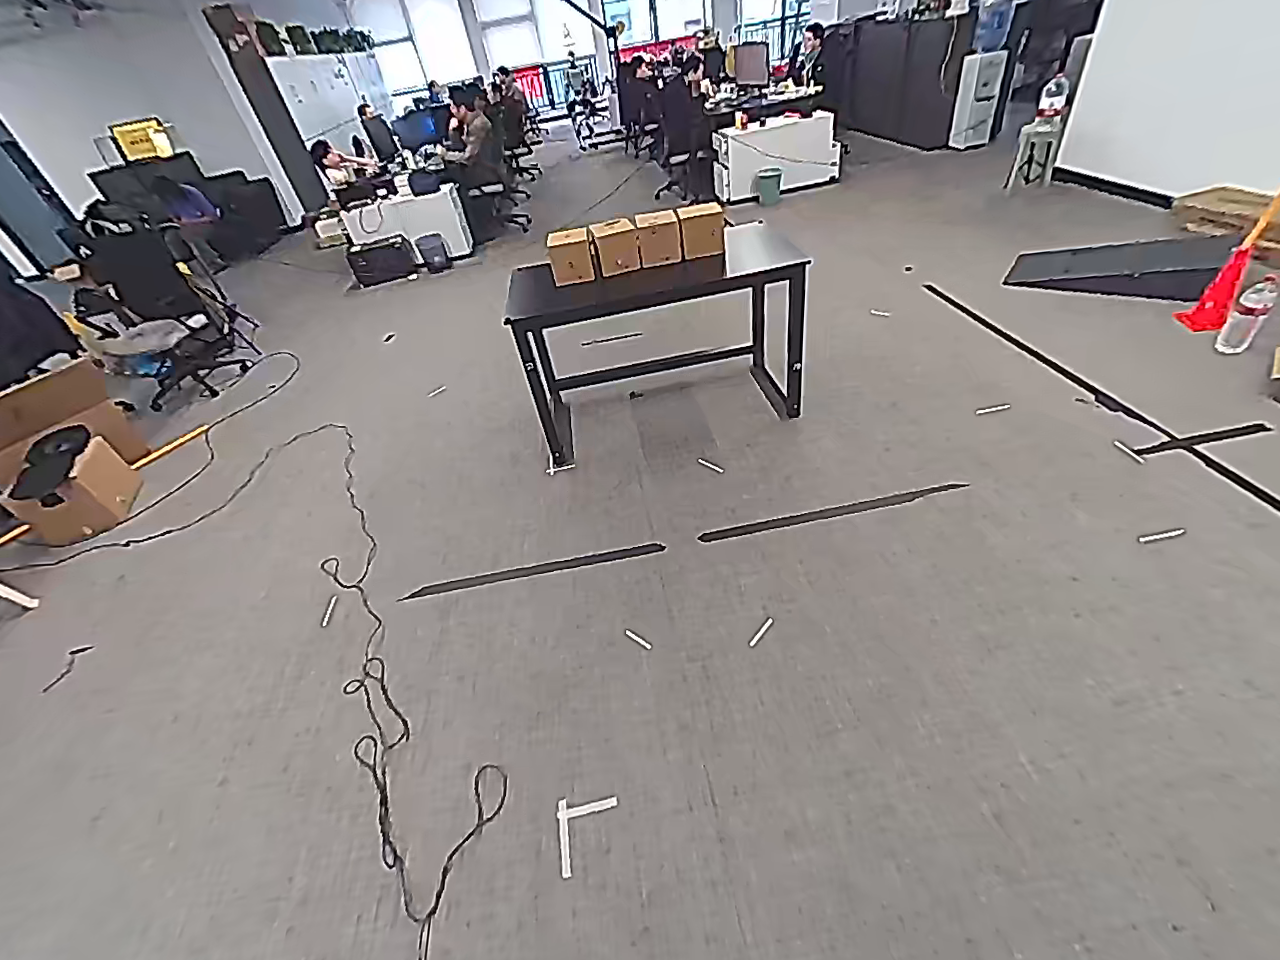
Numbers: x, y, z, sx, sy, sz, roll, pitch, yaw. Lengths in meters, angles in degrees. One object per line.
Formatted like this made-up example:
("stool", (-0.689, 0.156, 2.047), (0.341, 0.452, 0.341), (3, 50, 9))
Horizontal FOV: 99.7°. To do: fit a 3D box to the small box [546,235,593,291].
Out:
("small box", (-0.296, -0.919, 2.304), (0.168, 0.176, 0.179), (-9, 39, 2))
